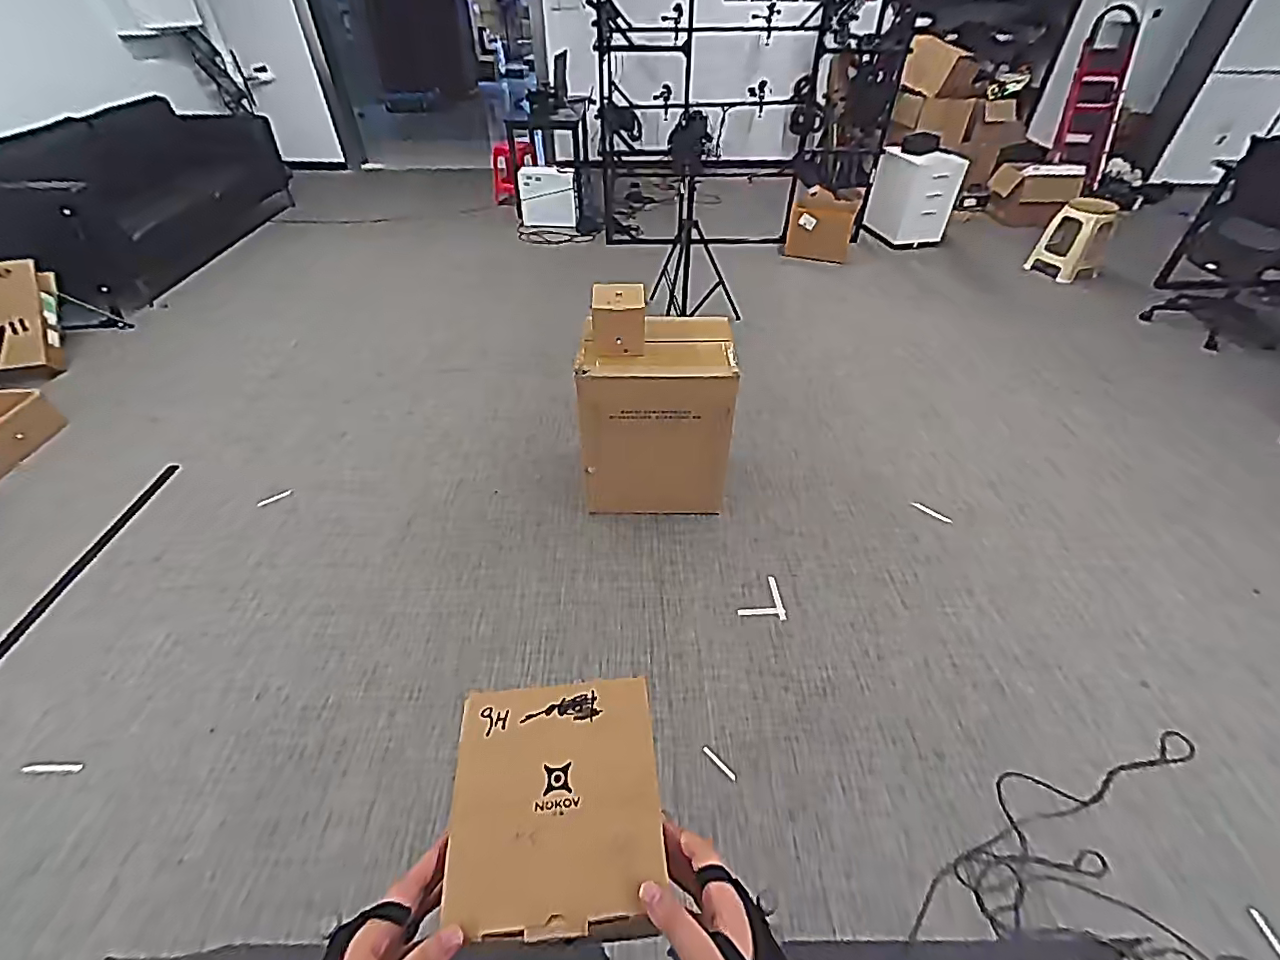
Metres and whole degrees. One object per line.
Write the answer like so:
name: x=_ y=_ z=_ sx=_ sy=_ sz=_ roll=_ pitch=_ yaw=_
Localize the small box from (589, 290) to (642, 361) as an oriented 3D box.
small box: x=-0.079 y=-0.510 z=1.781 sx=0.168 sy=0.176 sz=0.179 roll=-1 pitch=44 yaw=-2
